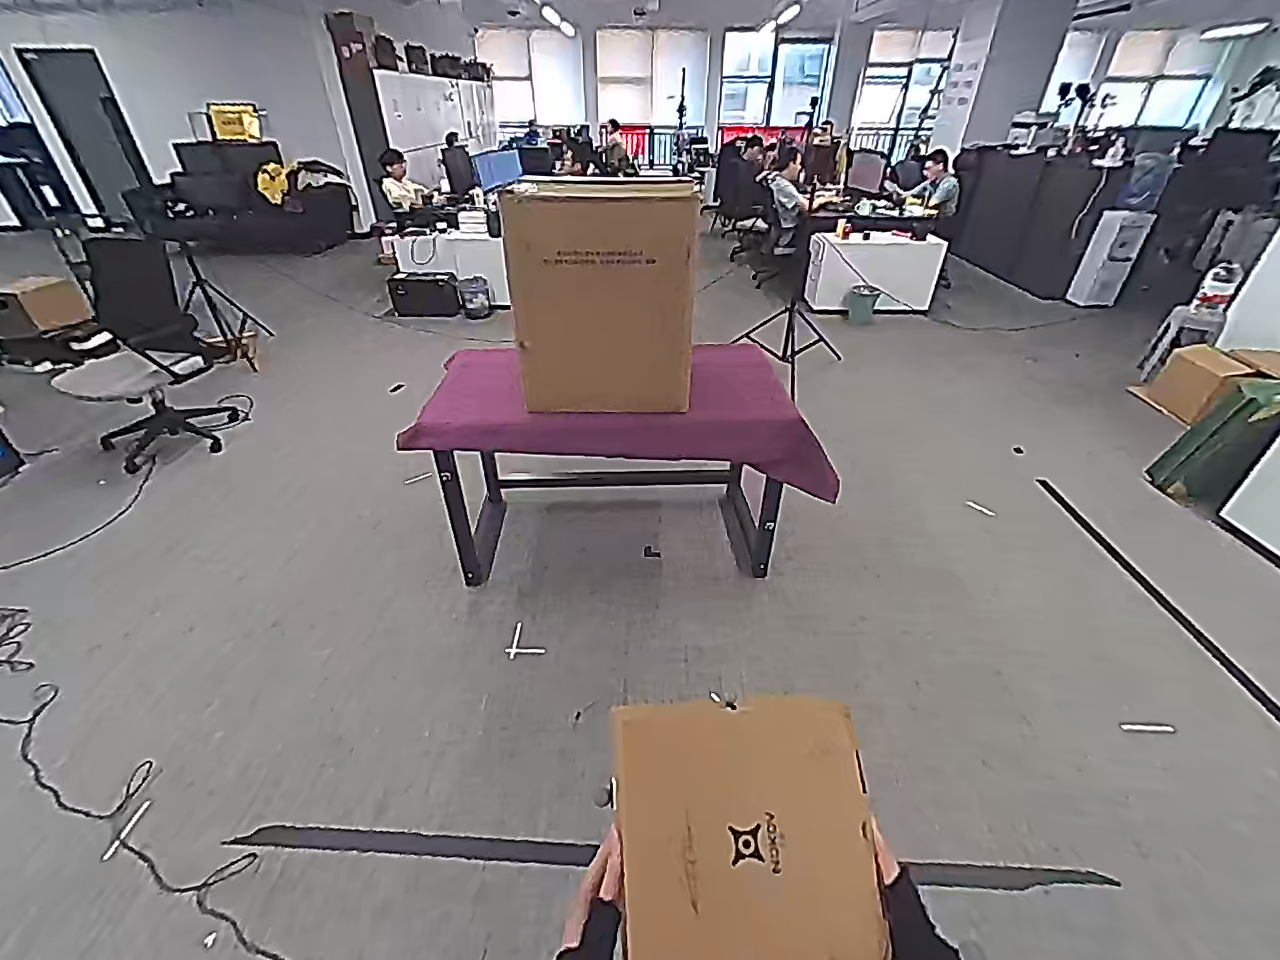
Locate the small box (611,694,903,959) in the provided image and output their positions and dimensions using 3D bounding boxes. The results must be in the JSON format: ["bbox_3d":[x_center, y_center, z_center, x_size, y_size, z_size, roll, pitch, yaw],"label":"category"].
[{"bbox_3d":[0.071,0.267,0.438,0.179,0.176,0.168,-3,69,-6],"label":"small box"}]
